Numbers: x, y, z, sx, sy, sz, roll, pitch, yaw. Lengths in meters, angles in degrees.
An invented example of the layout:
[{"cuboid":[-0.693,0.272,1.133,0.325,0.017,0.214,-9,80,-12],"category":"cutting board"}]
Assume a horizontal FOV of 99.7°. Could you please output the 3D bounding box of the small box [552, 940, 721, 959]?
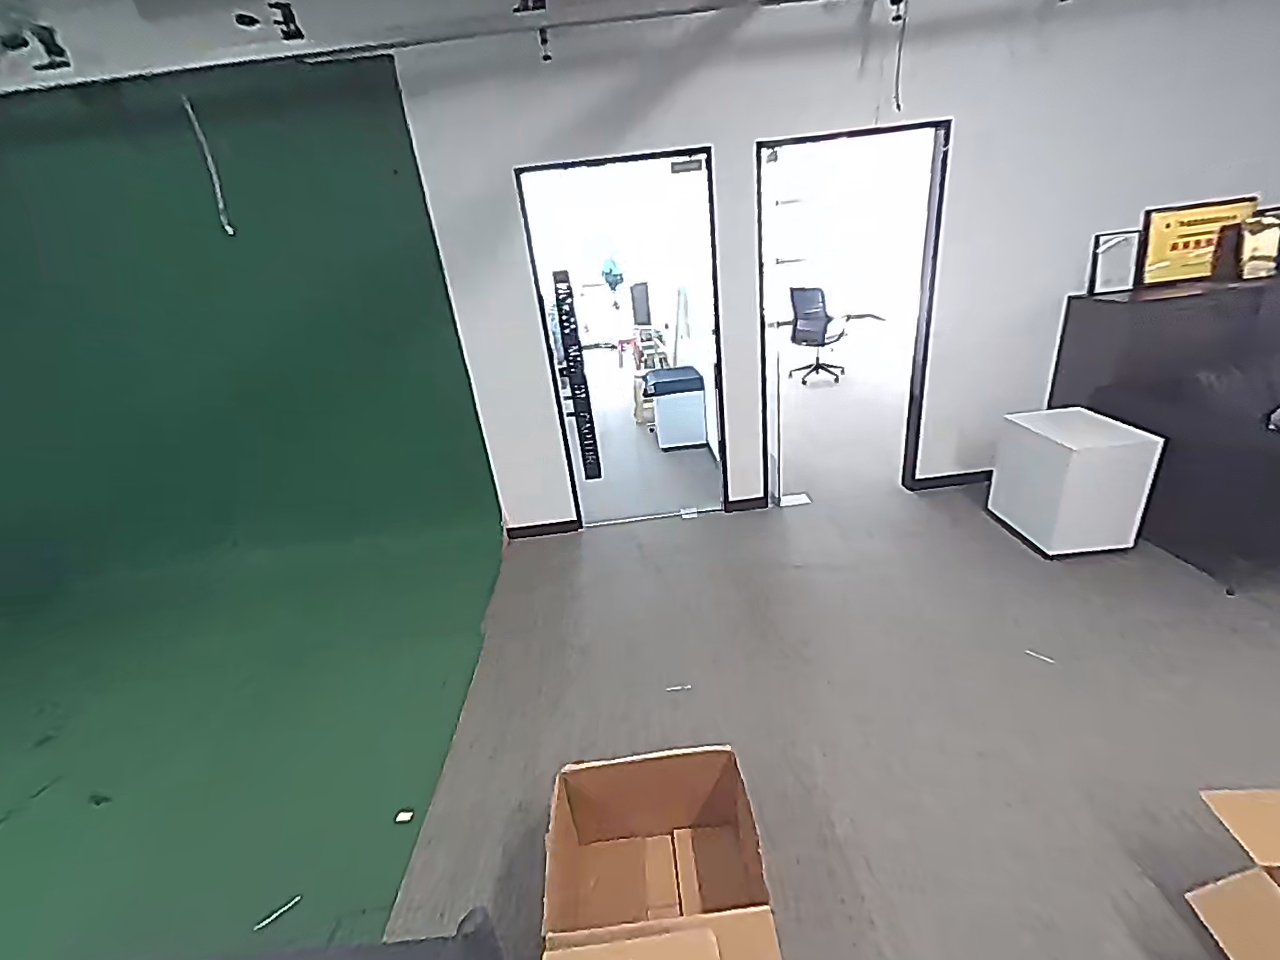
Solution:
[{"cuboid":[0.004,0.542,0.445,0.168,0.176,0.179,-5,11,-1],"category":"small box"}]
